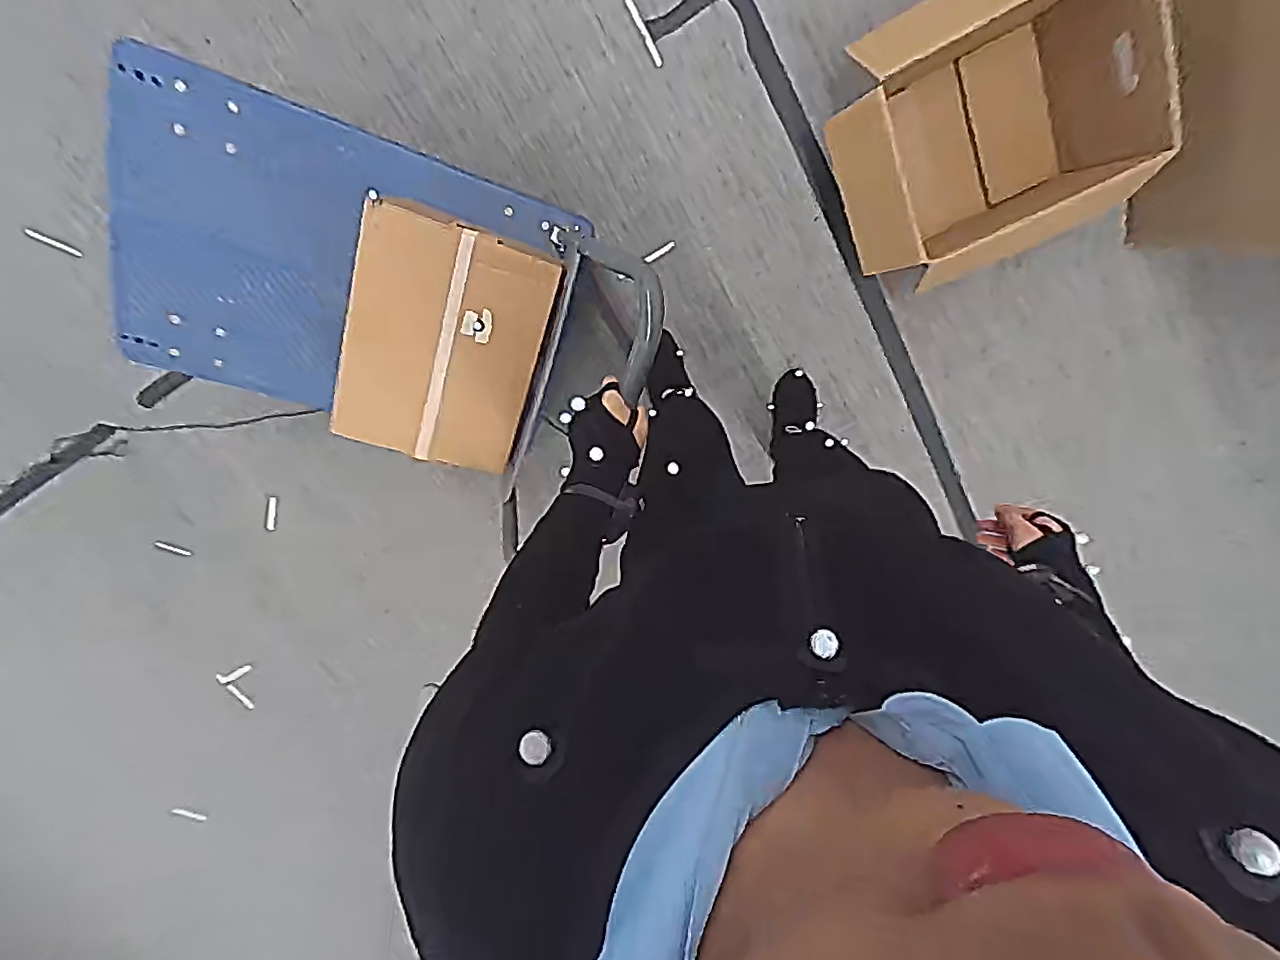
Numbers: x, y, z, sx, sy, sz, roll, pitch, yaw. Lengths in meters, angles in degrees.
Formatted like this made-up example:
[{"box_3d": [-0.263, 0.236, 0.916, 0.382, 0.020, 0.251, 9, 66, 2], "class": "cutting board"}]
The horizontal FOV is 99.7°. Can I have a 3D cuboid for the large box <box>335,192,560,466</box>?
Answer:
[{"box_3d": [-0.366, -0.296, 1.074, 0.320, 0.320, 0.408, 15, 111, -18], "class": "large box"}]
